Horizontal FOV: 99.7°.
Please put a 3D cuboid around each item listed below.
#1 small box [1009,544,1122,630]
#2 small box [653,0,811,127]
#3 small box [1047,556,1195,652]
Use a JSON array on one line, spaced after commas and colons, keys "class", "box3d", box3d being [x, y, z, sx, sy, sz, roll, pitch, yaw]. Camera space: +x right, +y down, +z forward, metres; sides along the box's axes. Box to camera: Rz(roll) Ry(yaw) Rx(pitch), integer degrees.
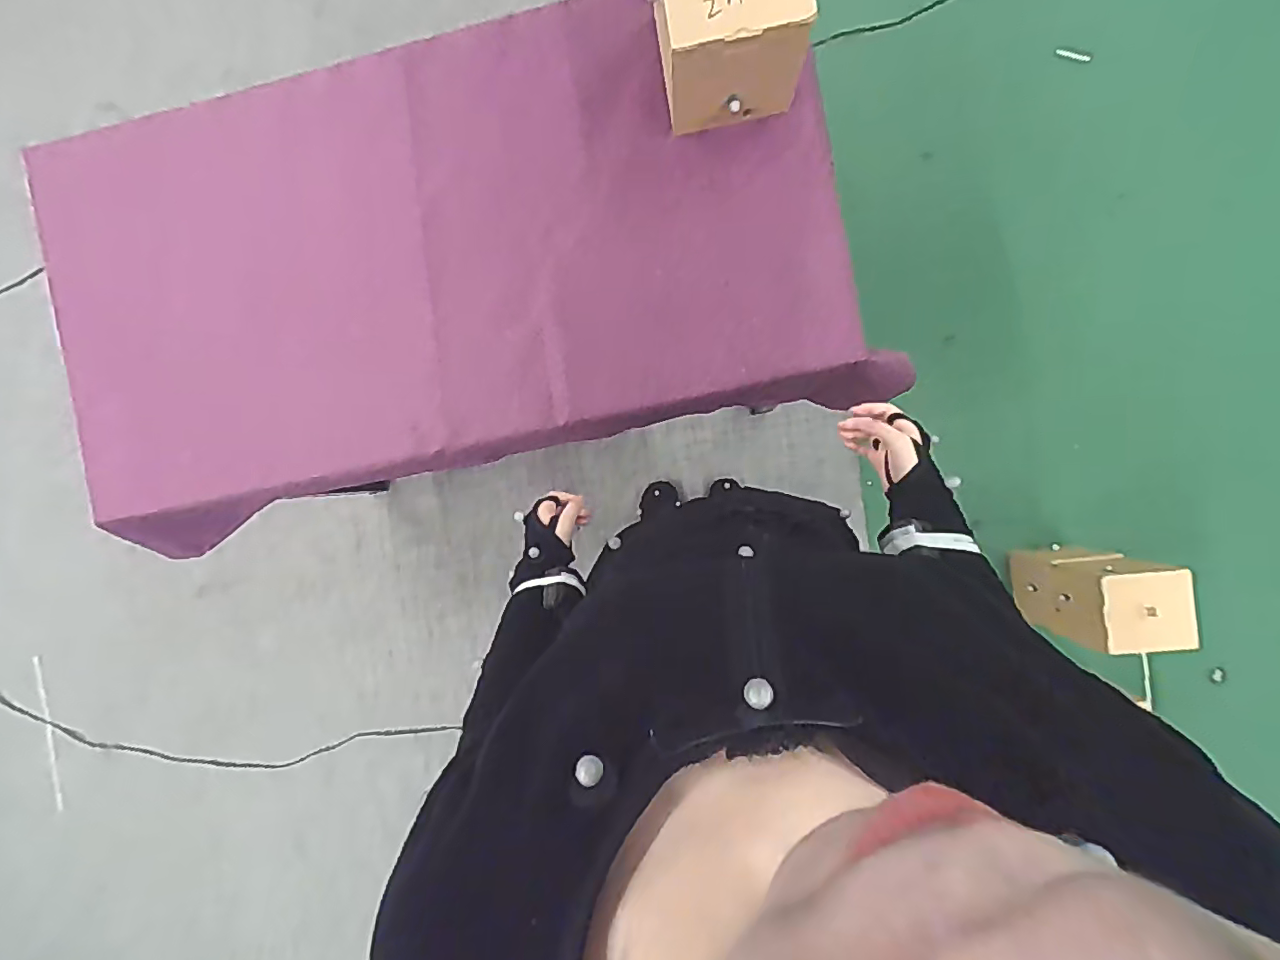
[{"class": "small box", "box3d": [1.060, 0.261, 1.349, 0.168, 0.176, 0.179, -6, 89, 4]}, {"class": "small box", "box3d": [0.104, -0.592, 0.679, 0.168, 0.176, 0.179, -8, 93, 6]}, {"class": "small box", "box3d": [1.044, 0.265, 1.187, 0.179, 0.176, 0.168, -6, 90, 5]}]
